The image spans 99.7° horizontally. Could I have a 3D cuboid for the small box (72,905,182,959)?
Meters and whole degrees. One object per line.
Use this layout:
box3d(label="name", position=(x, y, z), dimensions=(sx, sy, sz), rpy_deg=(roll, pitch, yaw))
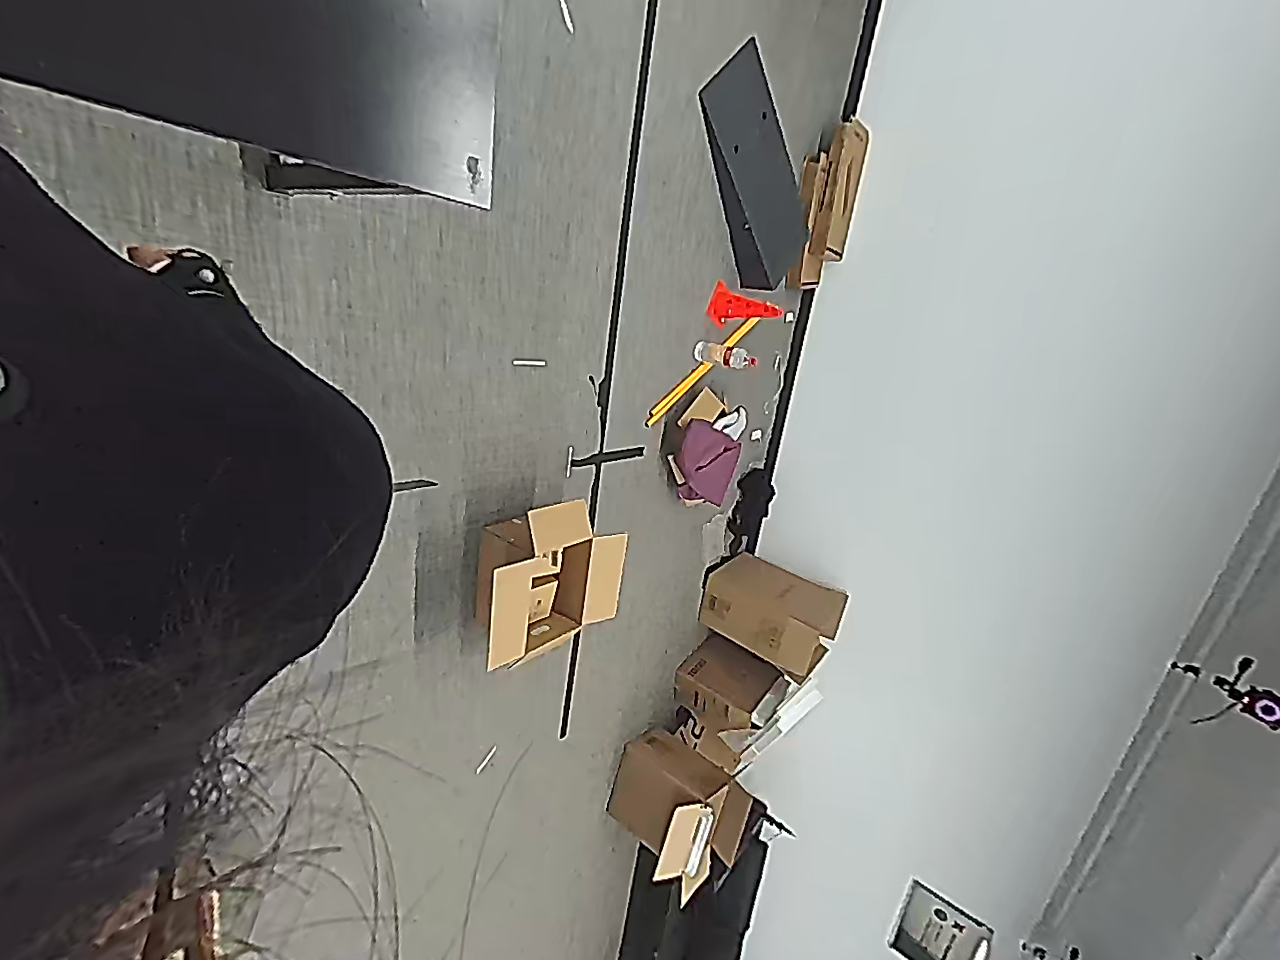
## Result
box3d(label="small box", position=(-1.303, 1.251, 1.377), dimensions=(0.179, 0.176, 0.168), rpy_deg=(-8, 111, -52))
